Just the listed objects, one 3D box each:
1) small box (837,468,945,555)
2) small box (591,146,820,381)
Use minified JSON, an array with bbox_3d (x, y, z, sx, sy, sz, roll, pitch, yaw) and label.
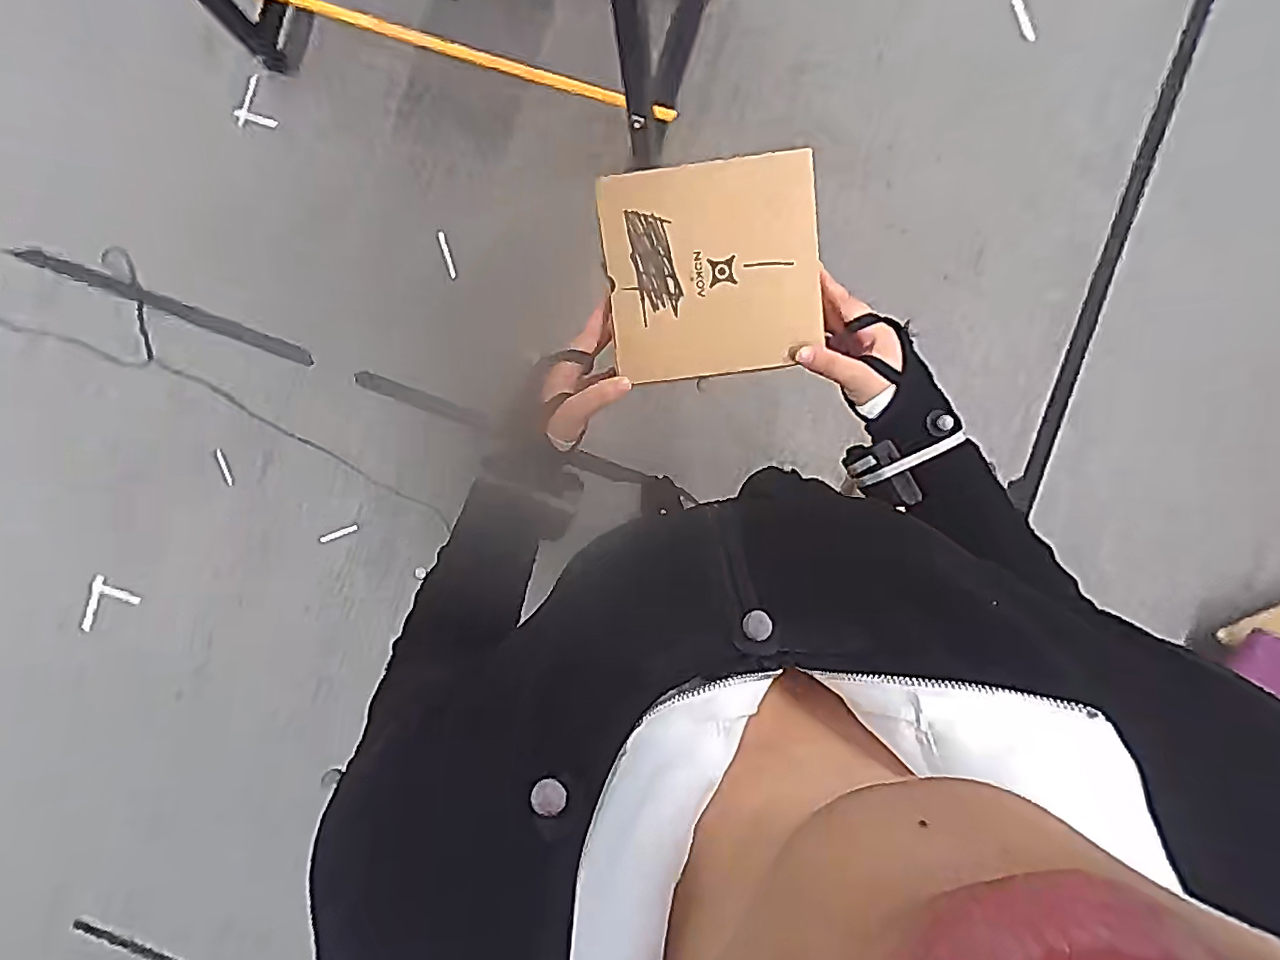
[{"bbox_3d":[0.634,0.079,1.392,0.179,0.176,0.168,22,91,4],"label":"small box"},{"bbox_3d":[0.058,-0.188,0.522,0.179,0.176,0.168,-7,100,2],"label":"small box"}]
